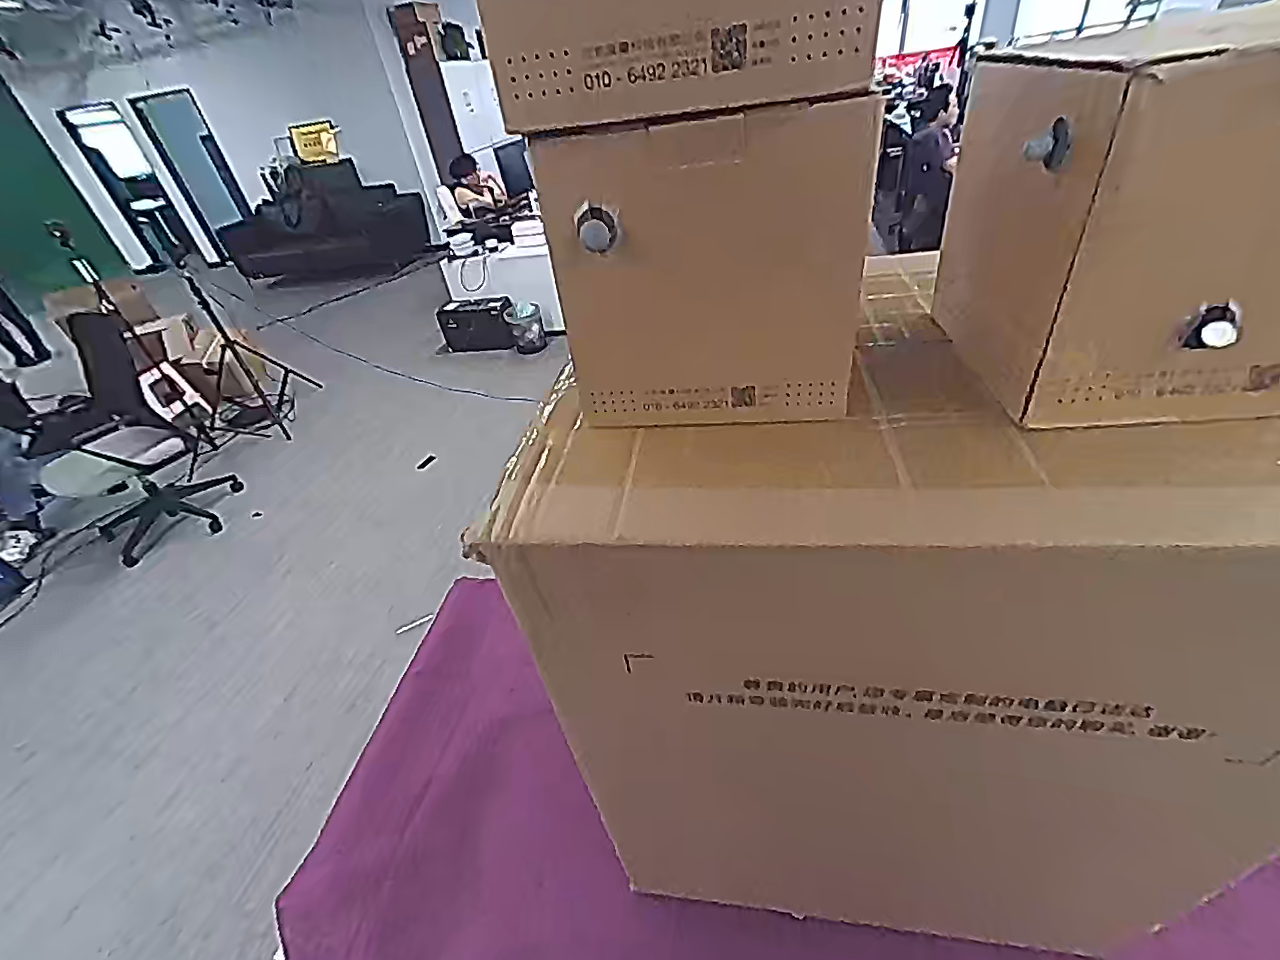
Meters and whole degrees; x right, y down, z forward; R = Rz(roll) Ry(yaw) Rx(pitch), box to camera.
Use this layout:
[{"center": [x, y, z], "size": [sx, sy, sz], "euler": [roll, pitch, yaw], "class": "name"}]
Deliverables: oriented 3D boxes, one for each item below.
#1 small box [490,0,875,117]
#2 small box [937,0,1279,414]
[{"center": [0.018, -0.283, 0.257], "size": [0.168, 0.176, 0.179], "euler": [-2, 37, 8], "class": "small box"}, {"center": [0.290, -0.154, 0.304], "size": [0.168, 0.176, 0.179], "euler": [-3, 38, 10], "class": "small box"}]
